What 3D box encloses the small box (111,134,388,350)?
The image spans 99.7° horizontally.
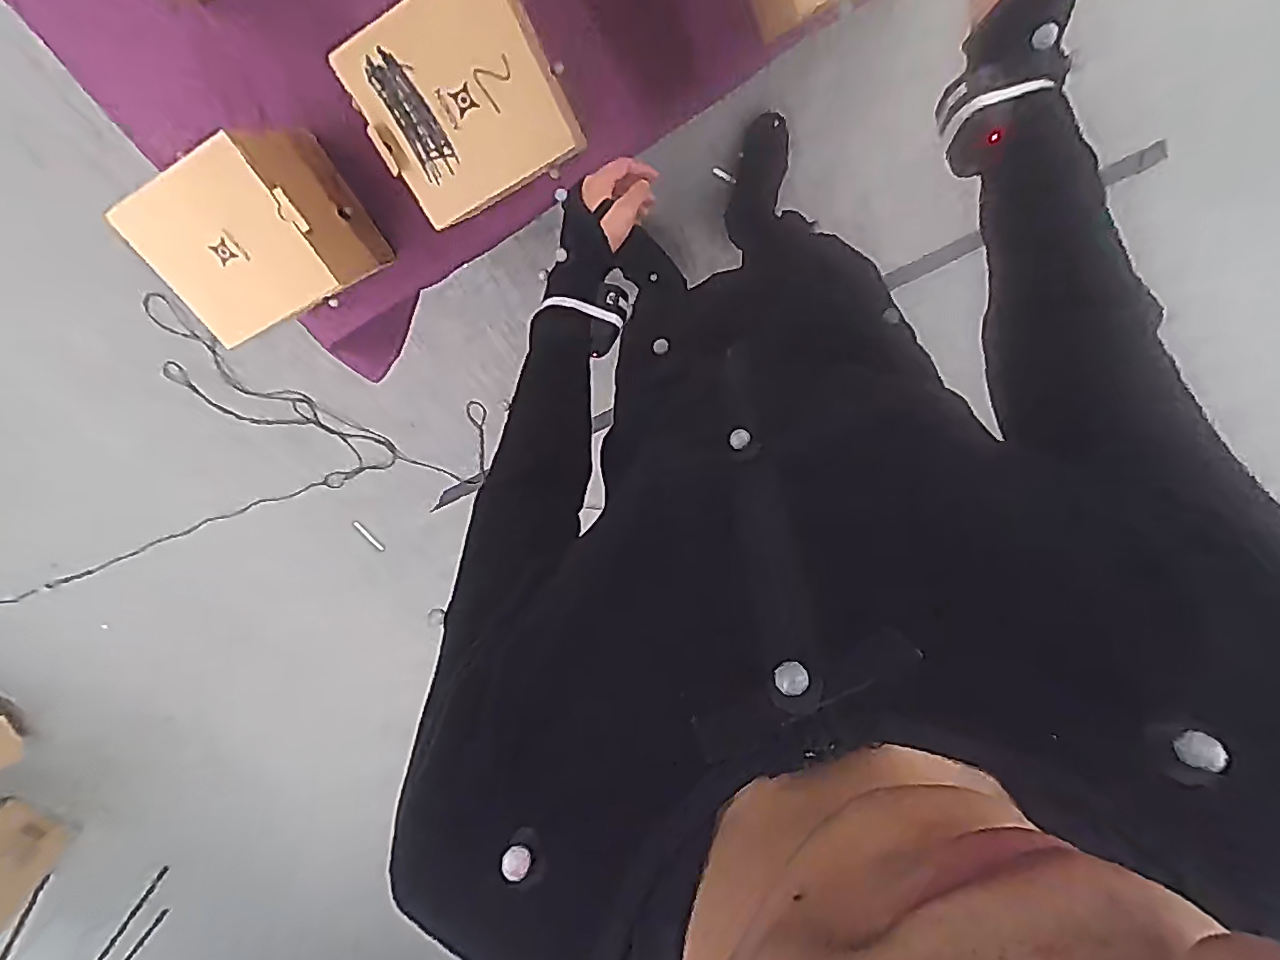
[{"bbox_3d":[-0.448,-0.288,0.655,0.179,0.176,0.168,-24,119,12],"label":"small box"}]
